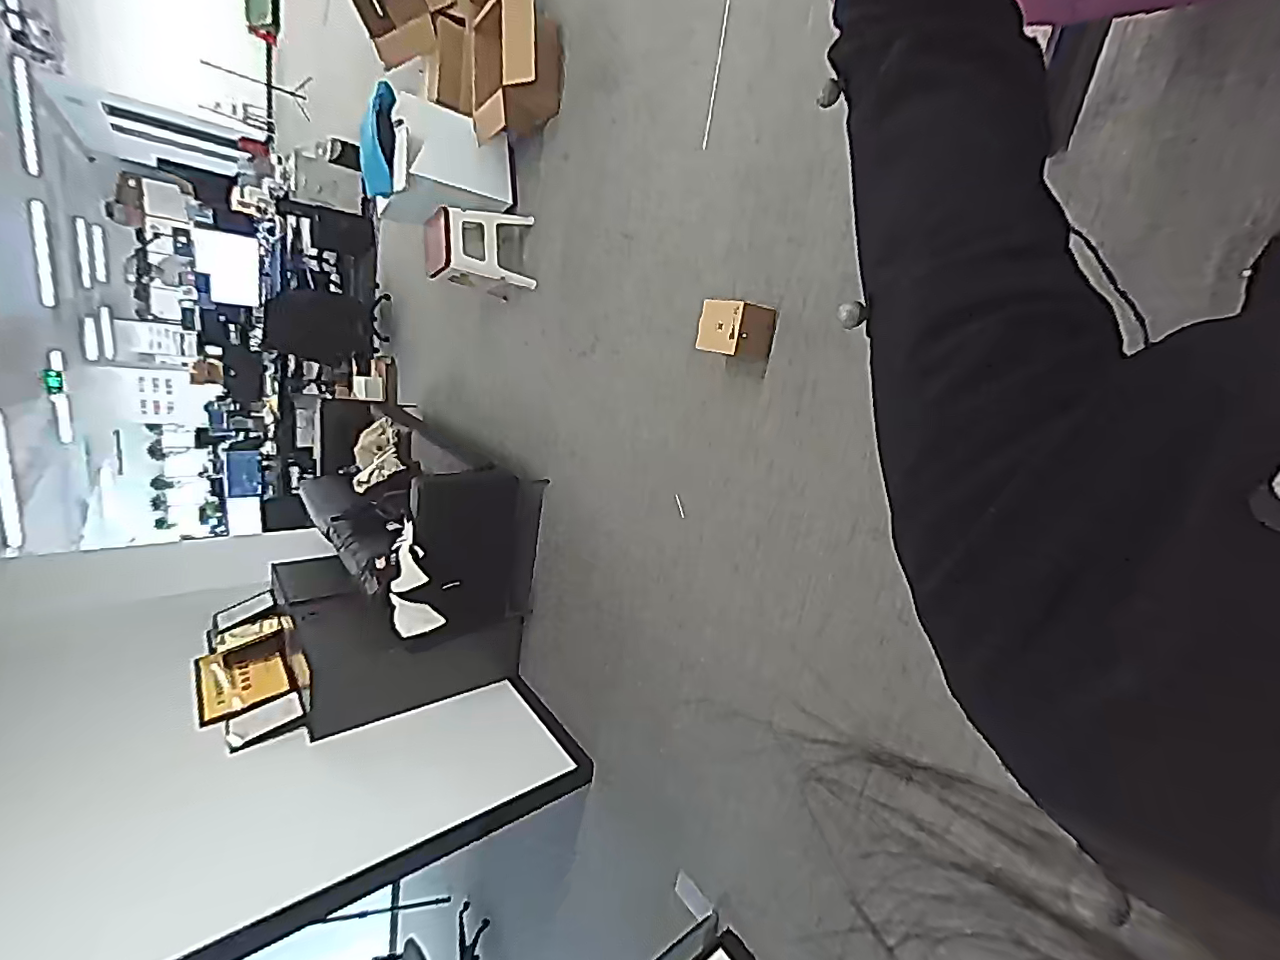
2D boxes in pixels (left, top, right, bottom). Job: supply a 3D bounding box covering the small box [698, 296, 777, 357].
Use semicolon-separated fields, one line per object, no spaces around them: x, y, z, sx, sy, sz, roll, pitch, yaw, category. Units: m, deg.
0.325;-0.508;1.800;0.179;0.176;0.168;26;112;46;small box
